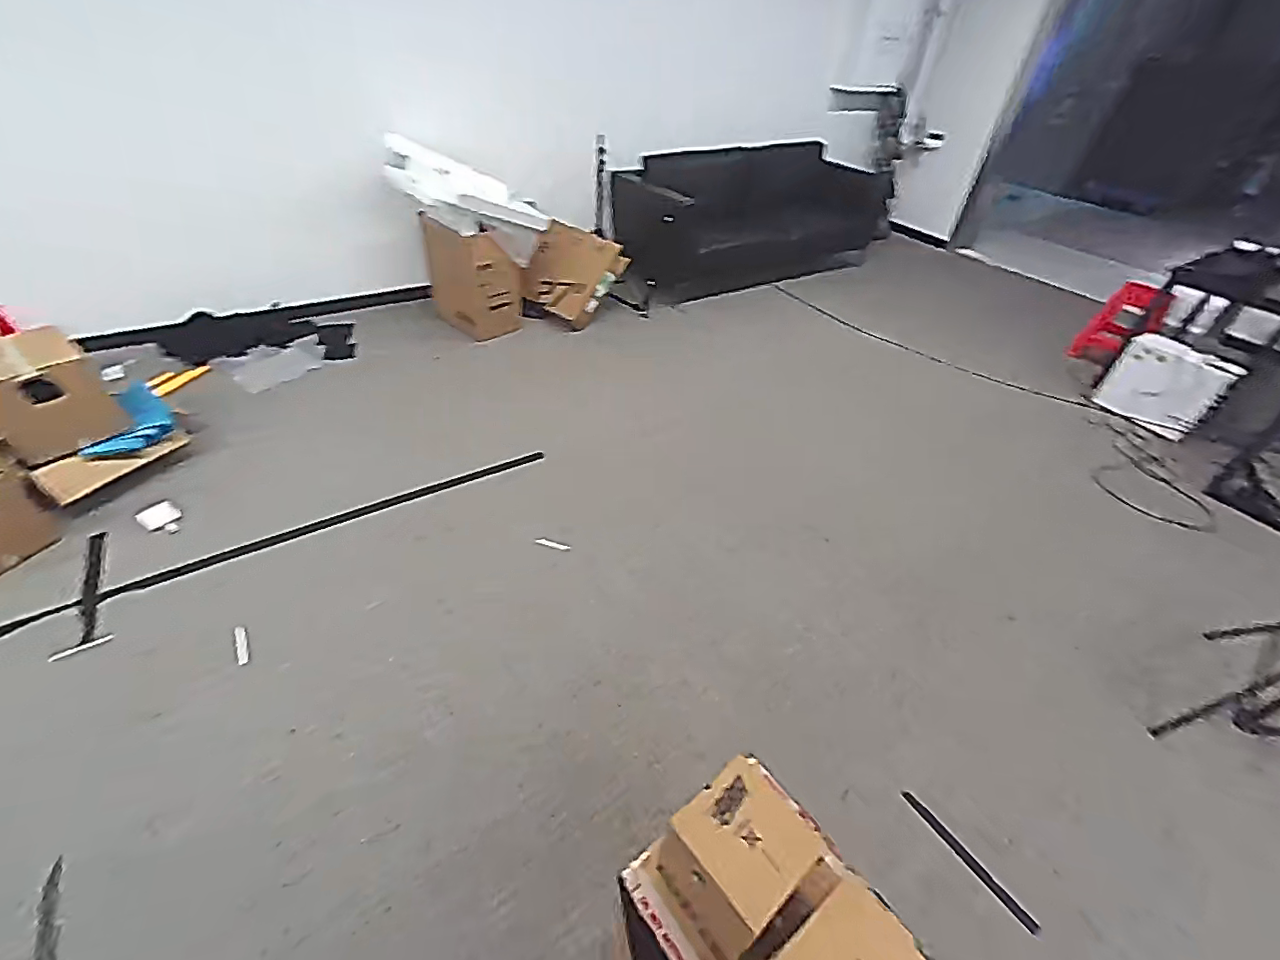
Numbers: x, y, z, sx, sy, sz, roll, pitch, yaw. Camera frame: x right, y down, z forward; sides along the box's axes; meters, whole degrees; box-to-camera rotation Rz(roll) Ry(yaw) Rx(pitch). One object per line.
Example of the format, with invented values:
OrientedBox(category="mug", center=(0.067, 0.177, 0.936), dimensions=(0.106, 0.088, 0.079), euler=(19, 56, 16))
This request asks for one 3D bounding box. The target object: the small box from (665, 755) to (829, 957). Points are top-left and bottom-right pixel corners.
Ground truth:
OrientedBox(category="small box", center=(0.155, 0.585, 0.845), dimensions=(0.168, 0.176, 0.179), euler=(-25, 48, -33))

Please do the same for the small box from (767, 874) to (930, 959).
OrientedBox(category="small box", center=(0.278, 0.692, 0.732), dimensions=(0.179, 0.176, 0.168), euler=(-22, 49, -31))
